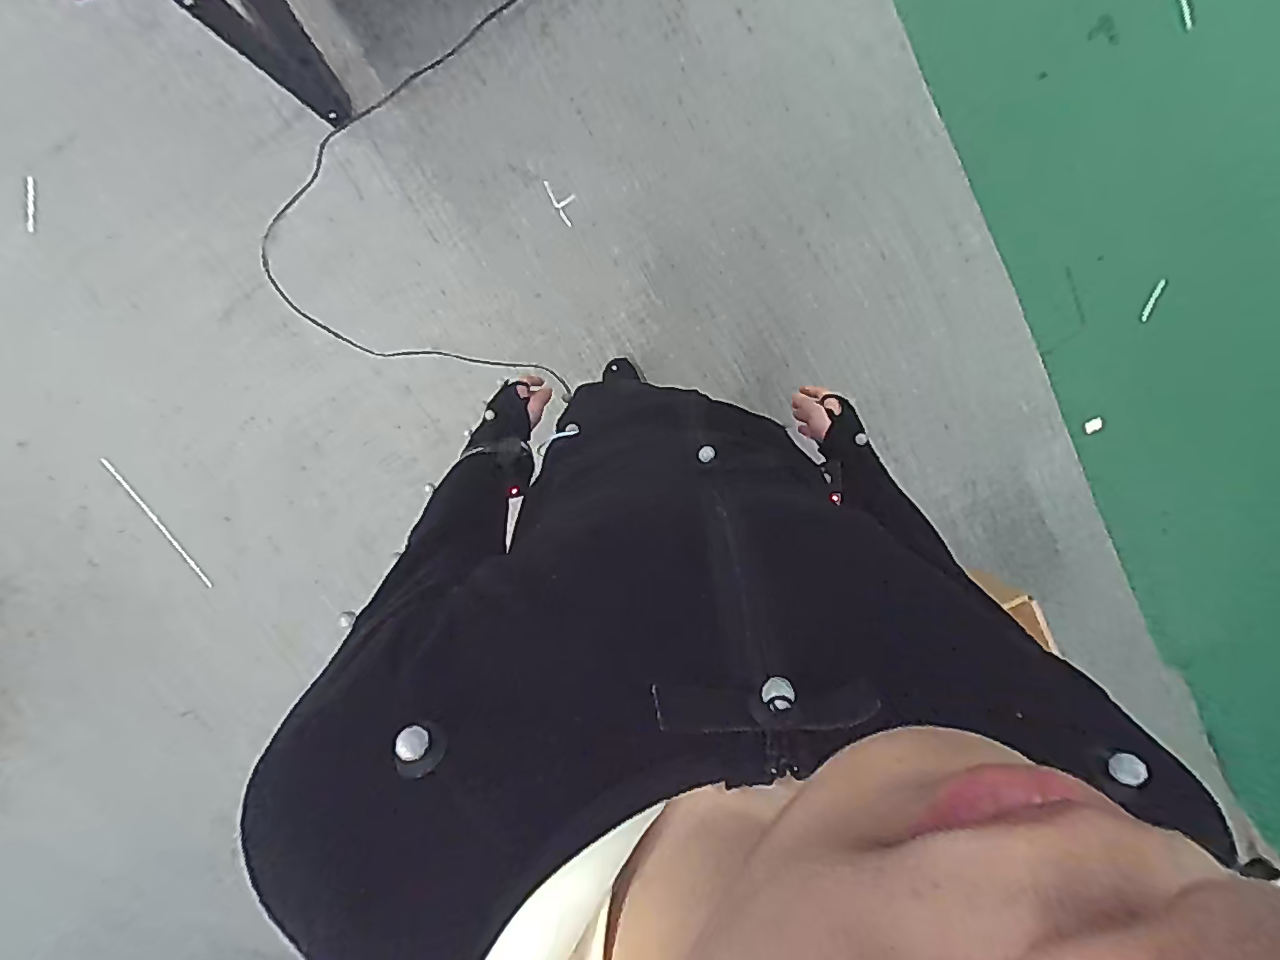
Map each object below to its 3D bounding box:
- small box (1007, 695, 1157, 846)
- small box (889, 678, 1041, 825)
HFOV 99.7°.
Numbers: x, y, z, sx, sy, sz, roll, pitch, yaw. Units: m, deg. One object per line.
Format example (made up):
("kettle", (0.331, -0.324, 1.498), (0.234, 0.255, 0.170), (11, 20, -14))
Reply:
("small box", (0.856, 0.574, 1.085), (0.179, 0.176, 0.168), (-28, 100, 6))
("small box", (0.629, 0.522, 1.070), (0.168, 0.176, 0.179), (-30, 101, 6))
